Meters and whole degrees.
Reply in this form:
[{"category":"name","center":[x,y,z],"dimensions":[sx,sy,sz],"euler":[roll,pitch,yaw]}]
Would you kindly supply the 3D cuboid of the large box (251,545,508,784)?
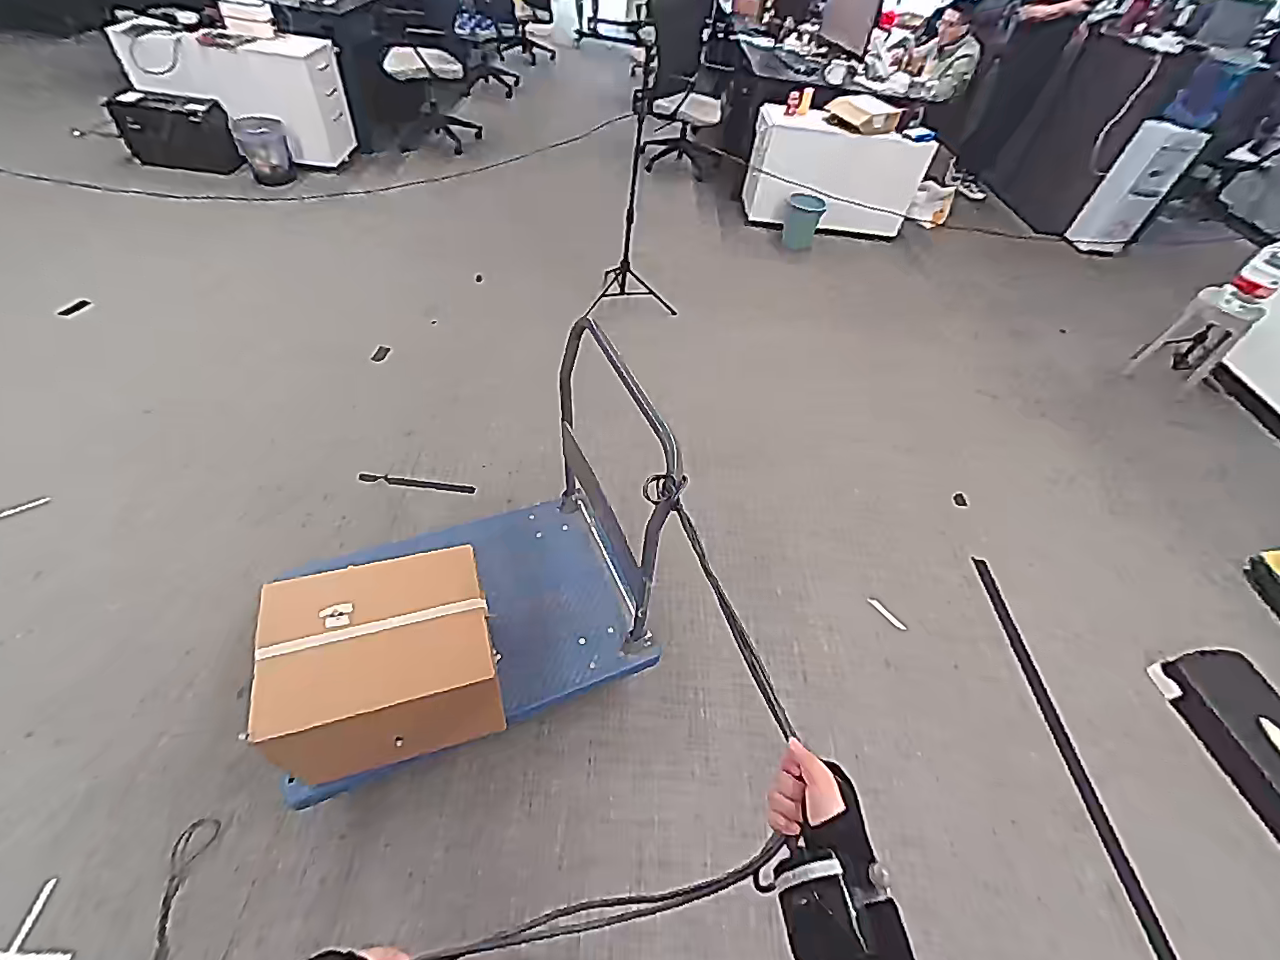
[{"category":"large box","center":[-0.518,0.385,1.143],"dimensions":[0.408,0.320,0.320],"euler":[-11,51,-17]}]
